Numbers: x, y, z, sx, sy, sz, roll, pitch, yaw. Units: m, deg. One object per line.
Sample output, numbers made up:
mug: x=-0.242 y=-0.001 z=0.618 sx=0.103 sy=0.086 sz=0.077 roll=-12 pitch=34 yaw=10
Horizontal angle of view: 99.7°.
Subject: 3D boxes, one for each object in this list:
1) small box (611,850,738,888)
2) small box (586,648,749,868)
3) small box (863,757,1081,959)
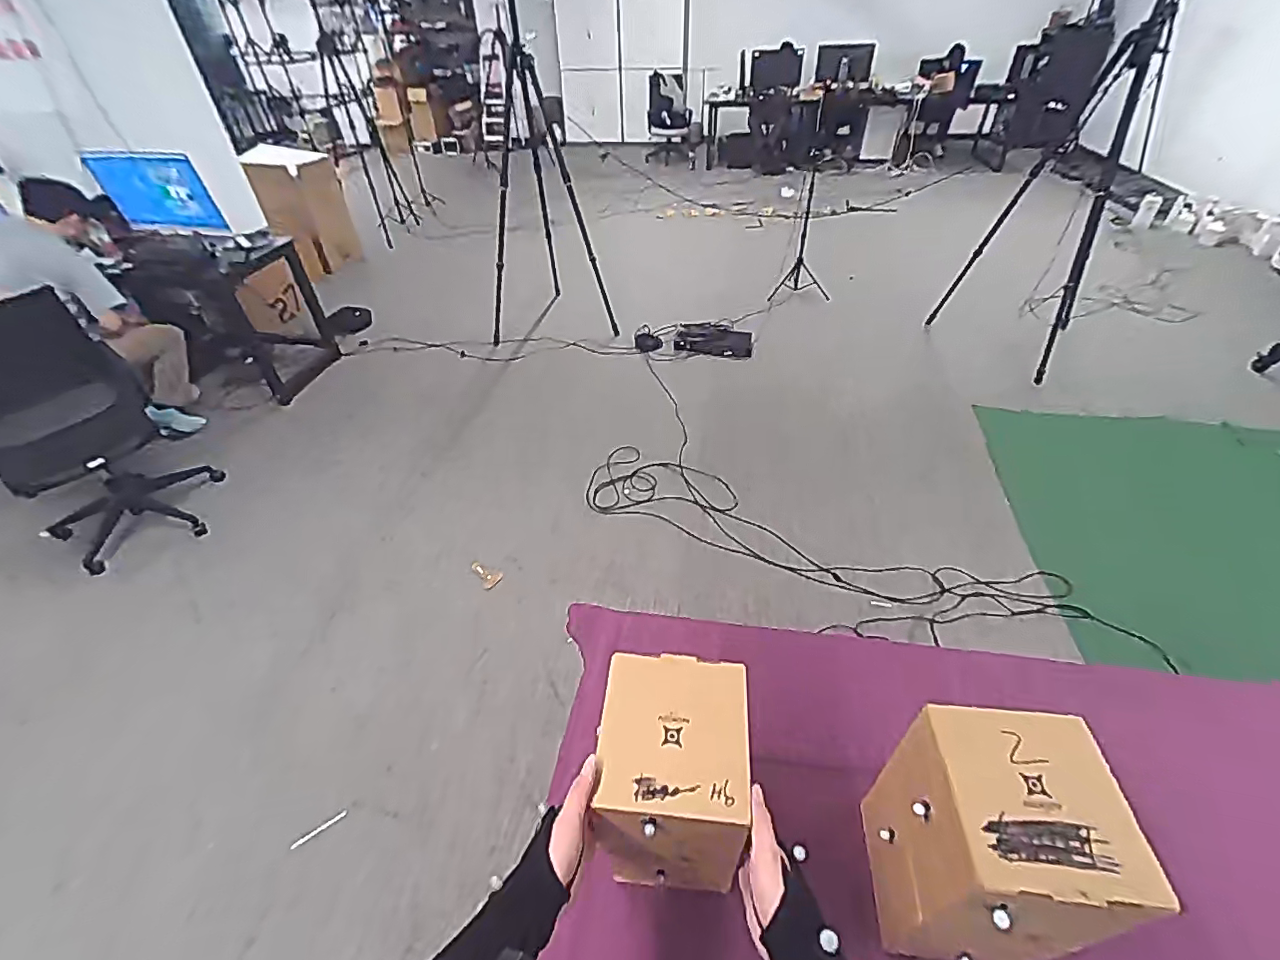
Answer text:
small box: x=0.045 y=0.444 z=0.766 sx=0.168 sy=0.176 sz=0.179 roll=2 pitch=42 yaw=5
small box: x=0.037 y=0.330 z=0.648 sx=0.168 sy=0.176 sz=0.179 roll=3 pitch=41 yaw=6
small box: x=0.399 y=0.489 z=0.694 sx=0.168 sy=0.176 sz=0.179 roll=3 pitch=41 yaw=7
